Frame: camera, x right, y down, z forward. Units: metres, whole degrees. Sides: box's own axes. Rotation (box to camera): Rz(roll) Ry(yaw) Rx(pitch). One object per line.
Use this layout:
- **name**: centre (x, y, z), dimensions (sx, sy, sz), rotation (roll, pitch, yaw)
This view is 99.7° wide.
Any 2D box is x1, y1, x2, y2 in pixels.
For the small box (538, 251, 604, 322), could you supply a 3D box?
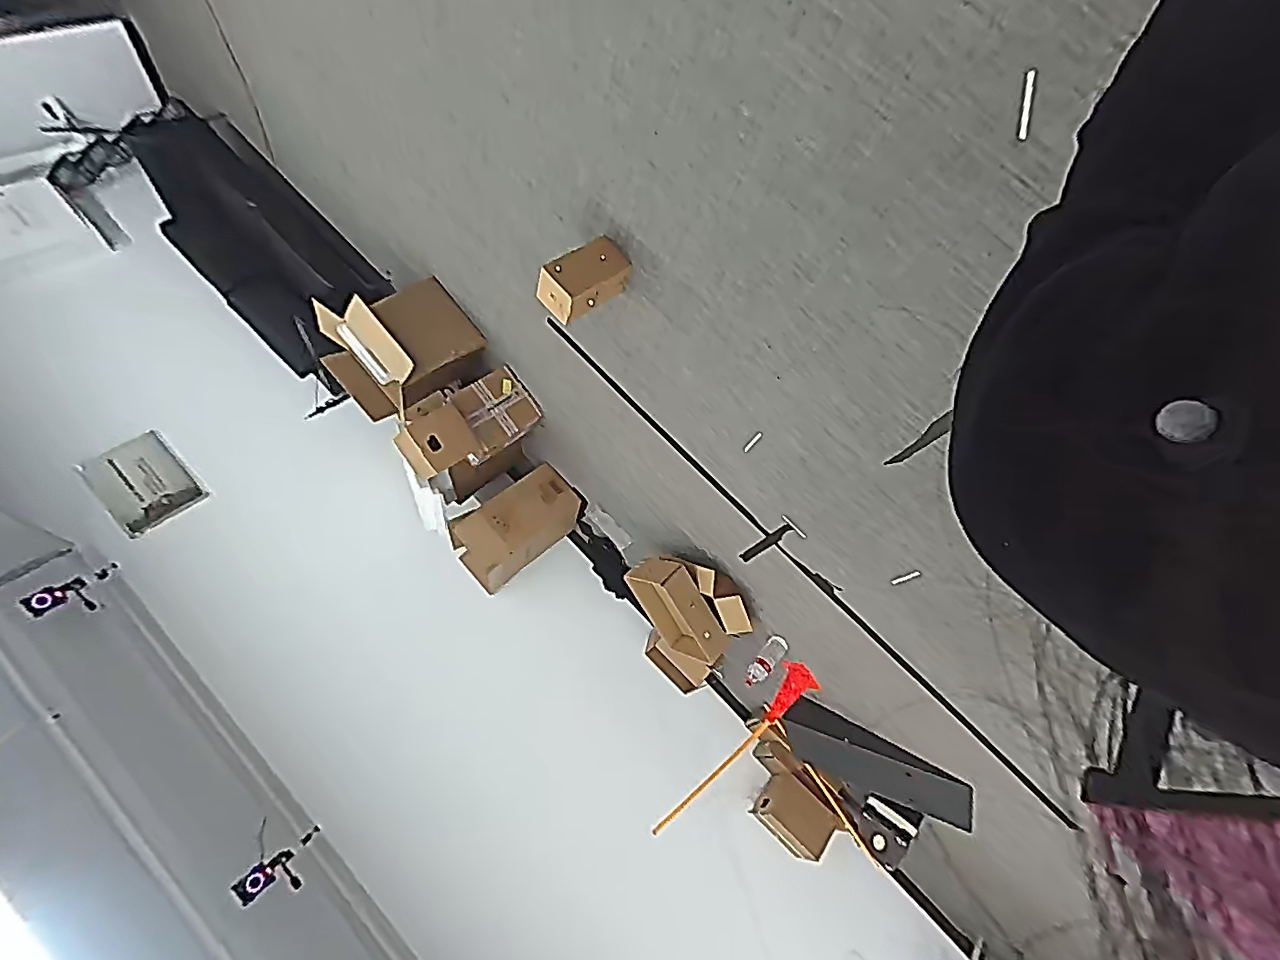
- **small box**: centre (-0.269, -0.759, 2.100), dimensions (0.179, 0.176, 0.168), rotation (46, 153, 4)
